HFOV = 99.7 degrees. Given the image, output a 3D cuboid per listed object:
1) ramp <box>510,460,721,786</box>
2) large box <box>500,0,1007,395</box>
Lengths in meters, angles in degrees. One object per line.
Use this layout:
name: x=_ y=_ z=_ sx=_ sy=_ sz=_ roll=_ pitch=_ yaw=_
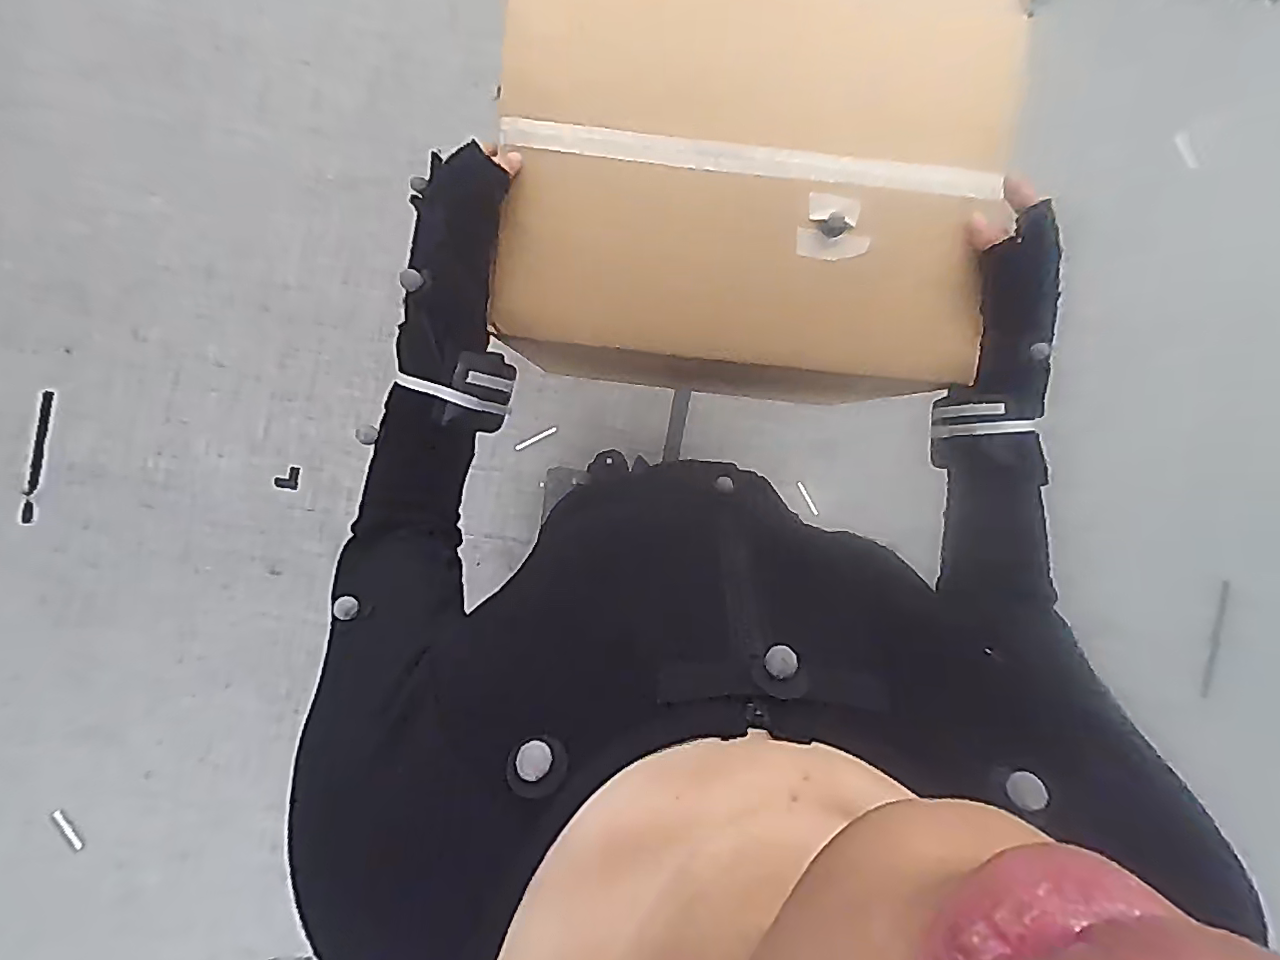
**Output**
ramp: x=-0.088 y=0.458 z=1.600 sx=0.509 sy=0.206 sz=0.991 roll=7 pitch=93 yaw=-3
large box: x=0.086 y=-0.274 z=0.593 sx=0.408 sy=0.320 sz=0.320 roll=6 pitch=95 yaw=-2
